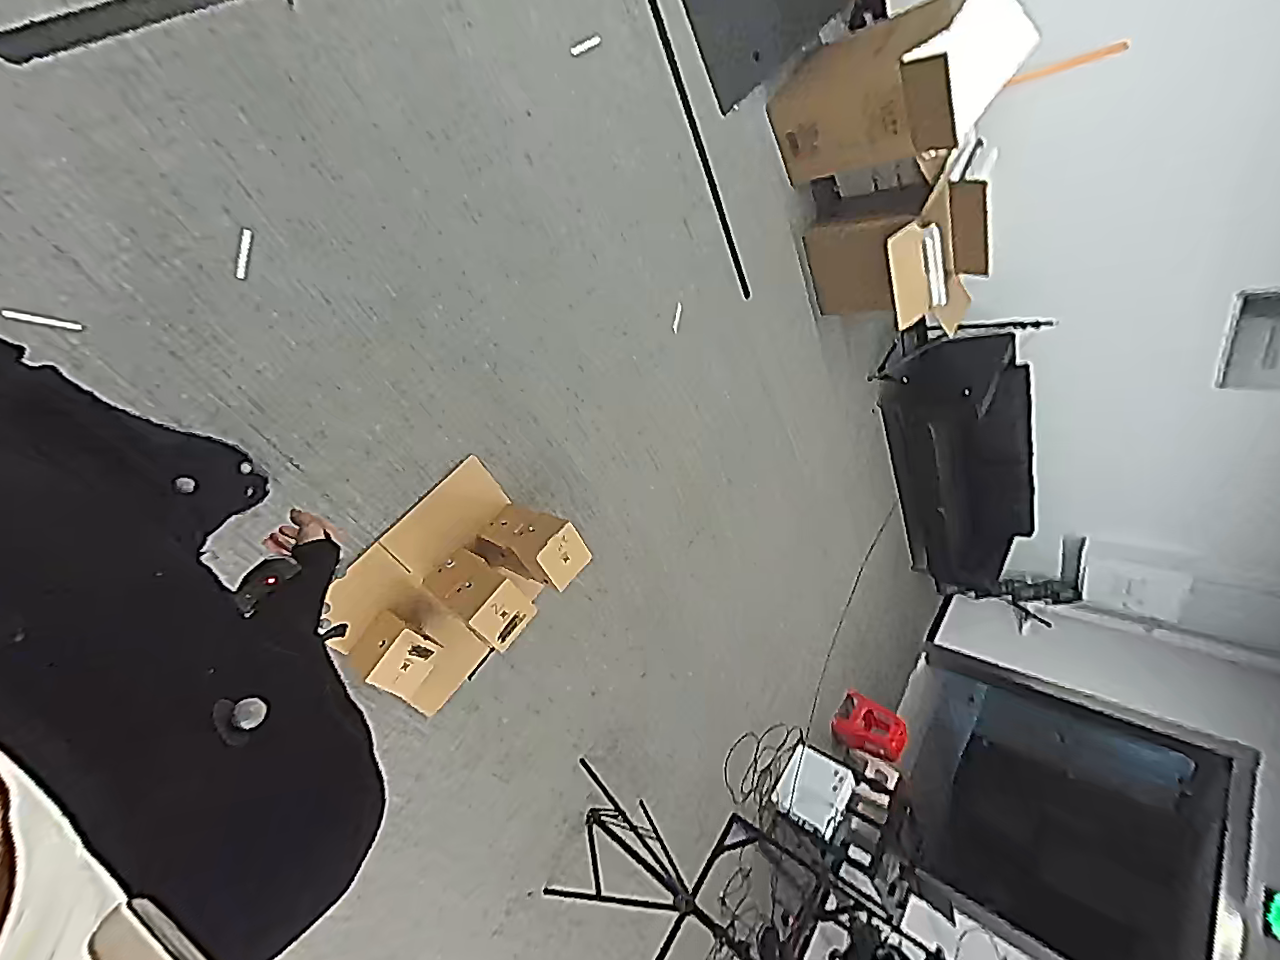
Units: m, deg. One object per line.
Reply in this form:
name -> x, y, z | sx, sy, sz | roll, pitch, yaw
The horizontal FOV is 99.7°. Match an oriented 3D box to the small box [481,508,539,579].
small box -> -0.416, 0.213, 1.873 | 0.168, 0.176, 0.179 | -48, 128, -28

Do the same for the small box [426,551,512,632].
small box -> -0.558, 0.356, 1.760 | 0.168, 0.176, 0.179 | -47, 128, -28

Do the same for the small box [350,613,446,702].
small box -> -0.729, 0.527, 1.622 | 0.179, 0.176, 0.168 | -57, 132, -20

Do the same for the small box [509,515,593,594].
small box -> -0.291, 0.237, 1.768 | 0.168, 0.176, 0.179 | -47, 128, -29
